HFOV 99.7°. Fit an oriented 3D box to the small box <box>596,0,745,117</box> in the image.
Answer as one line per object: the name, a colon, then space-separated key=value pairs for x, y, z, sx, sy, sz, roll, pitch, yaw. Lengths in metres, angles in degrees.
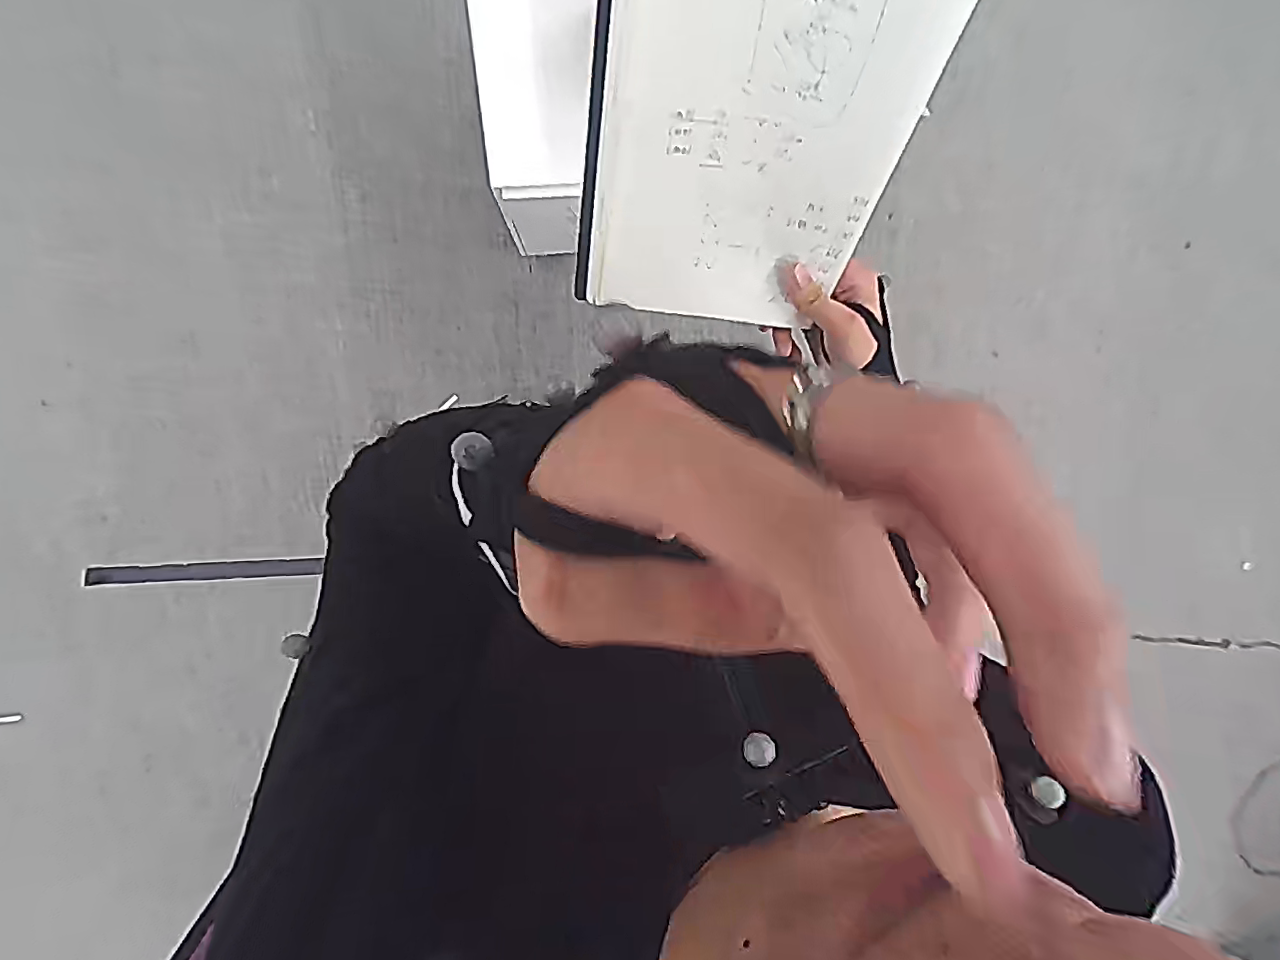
small box: x=0.038 y=-0.686 z=0.815 sx=0.179 sy=0.176 sz=0.168 roll=-14 pitch=102 yaw=-3
